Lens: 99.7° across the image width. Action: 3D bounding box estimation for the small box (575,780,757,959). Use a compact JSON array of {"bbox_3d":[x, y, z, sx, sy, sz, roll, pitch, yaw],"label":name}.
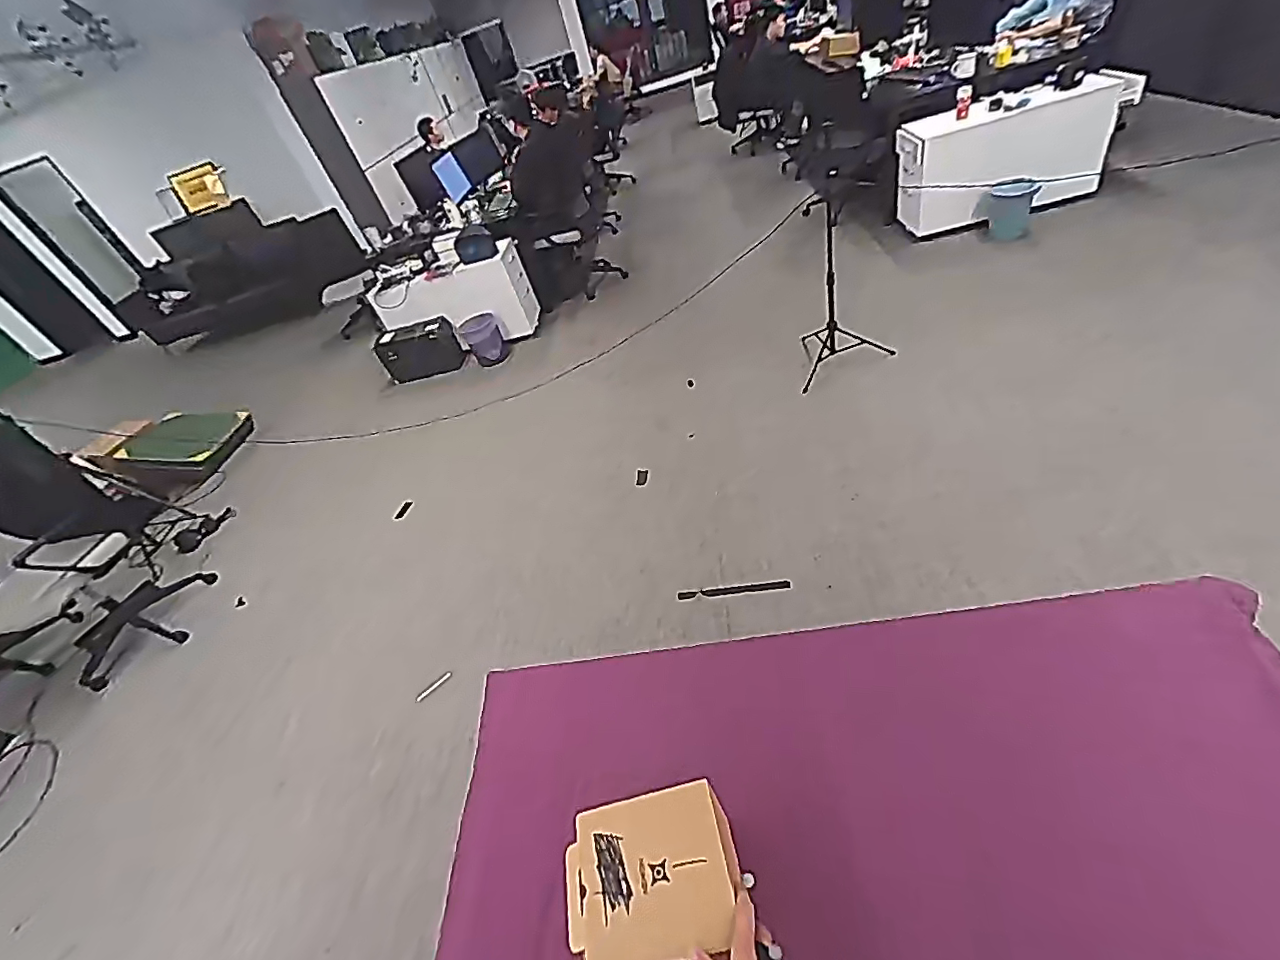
[{"bbox_3d":[0.031,0.507,0.671,0.179,0.176,0.168,-16,41,2],"label":"small box"}]
